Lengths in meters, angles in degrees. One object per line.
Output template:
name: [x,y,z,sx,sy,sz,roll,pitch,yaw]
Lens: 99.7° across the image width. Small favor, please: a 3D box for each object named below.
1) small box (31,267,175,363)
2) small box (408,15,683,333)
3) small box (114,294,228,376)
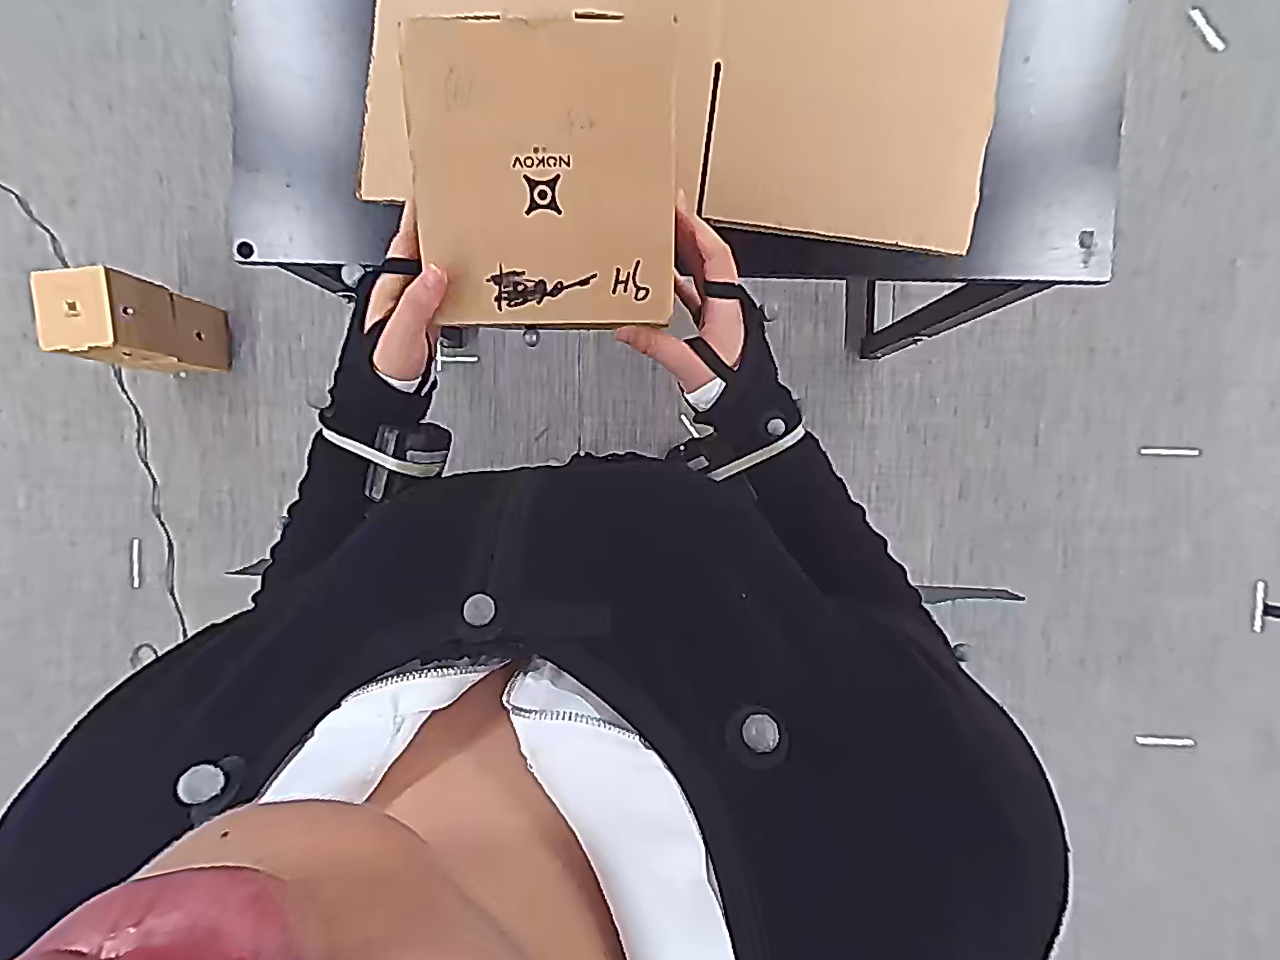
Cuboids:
small box: [-1.230,-0.373,1.253,0.168,0.176,0.179,-5,92,0]
small box: [-0.057,-0.207,0.416,0.168,0.176,0.179,0,104,1]
small box: [-1.225,-0.375,1.415,0.168,0.176,0.179,-2,94,1]
